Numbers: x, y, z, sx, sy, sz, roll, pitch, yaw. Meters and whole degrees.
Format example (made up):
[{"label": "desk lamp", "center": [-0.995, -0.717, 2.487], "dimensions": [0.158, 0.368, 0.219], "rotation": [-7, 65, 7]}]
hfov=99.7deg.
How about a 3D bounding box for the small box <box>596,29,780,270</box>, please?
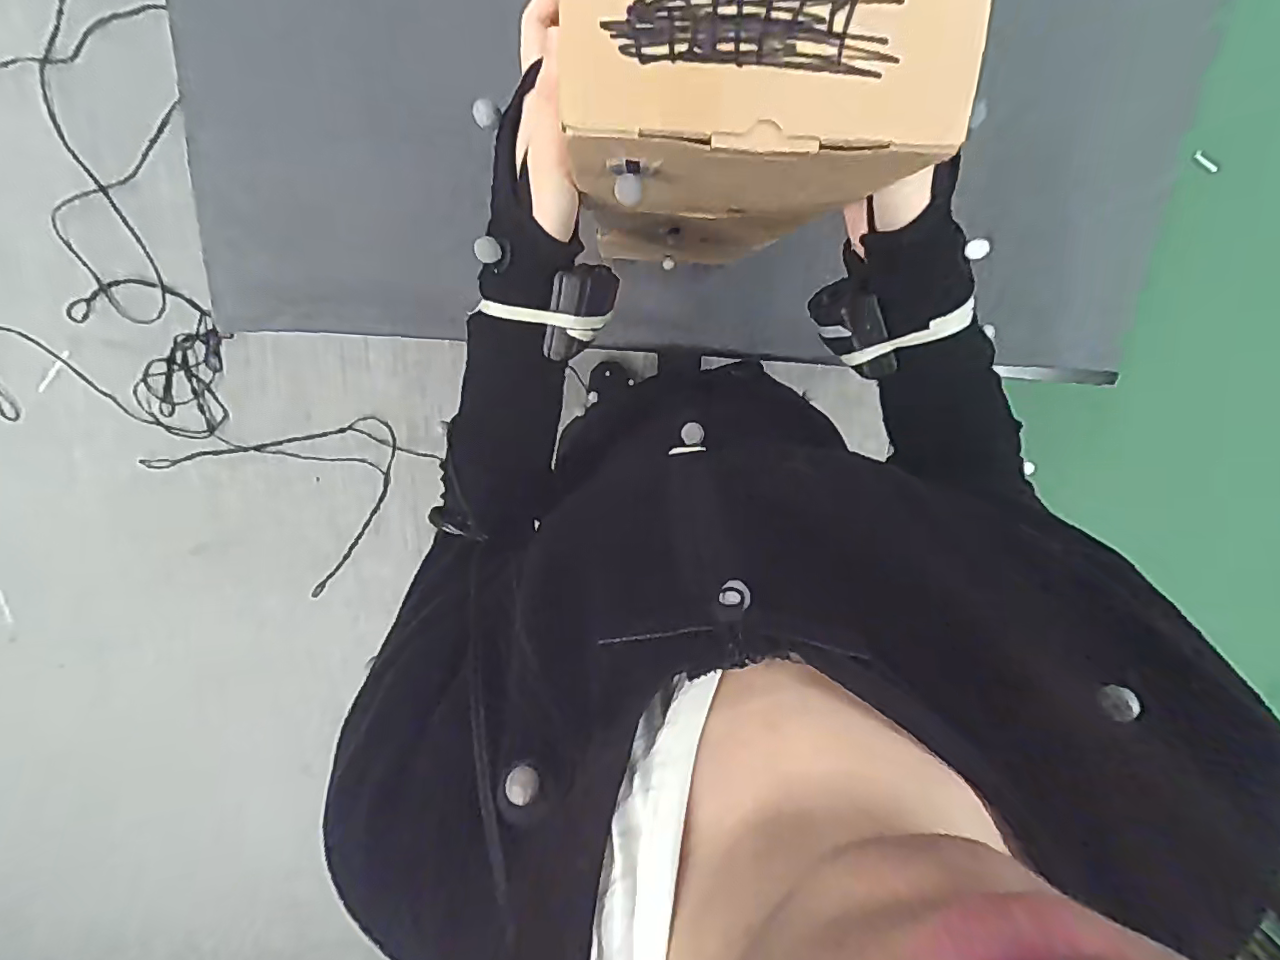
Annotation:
[{"label": "small box", "center": [0.038, -0.332, 0.579], "dimensions": [0.168, 0.176, 0.179], "rotation": [2, 105, -3]}]
